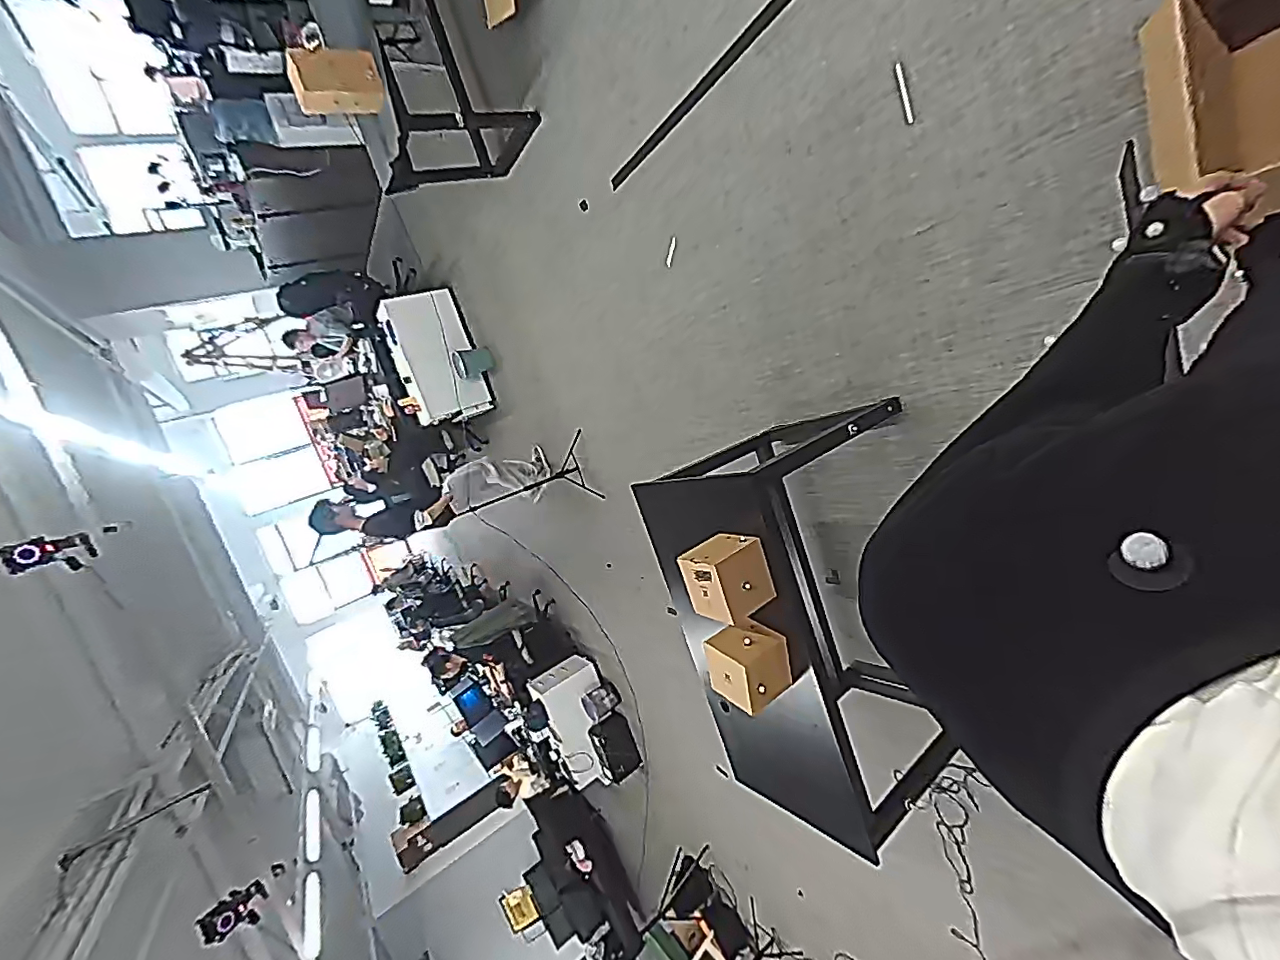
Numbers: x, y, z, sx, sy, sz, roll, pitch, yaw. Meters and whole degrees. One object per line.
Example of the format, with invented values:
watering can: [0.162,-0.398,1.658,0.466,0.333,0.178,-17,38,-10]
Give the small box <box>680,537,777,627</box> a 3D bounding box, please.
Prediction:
small box: [0.243,0.267,1.468,0.168,0.176,0.179,-2,111,59]

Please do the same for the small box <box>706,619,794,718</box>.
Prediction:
small box: [0.317,0.528,1.541,0.168,0.176,0.179,16,125,54]
